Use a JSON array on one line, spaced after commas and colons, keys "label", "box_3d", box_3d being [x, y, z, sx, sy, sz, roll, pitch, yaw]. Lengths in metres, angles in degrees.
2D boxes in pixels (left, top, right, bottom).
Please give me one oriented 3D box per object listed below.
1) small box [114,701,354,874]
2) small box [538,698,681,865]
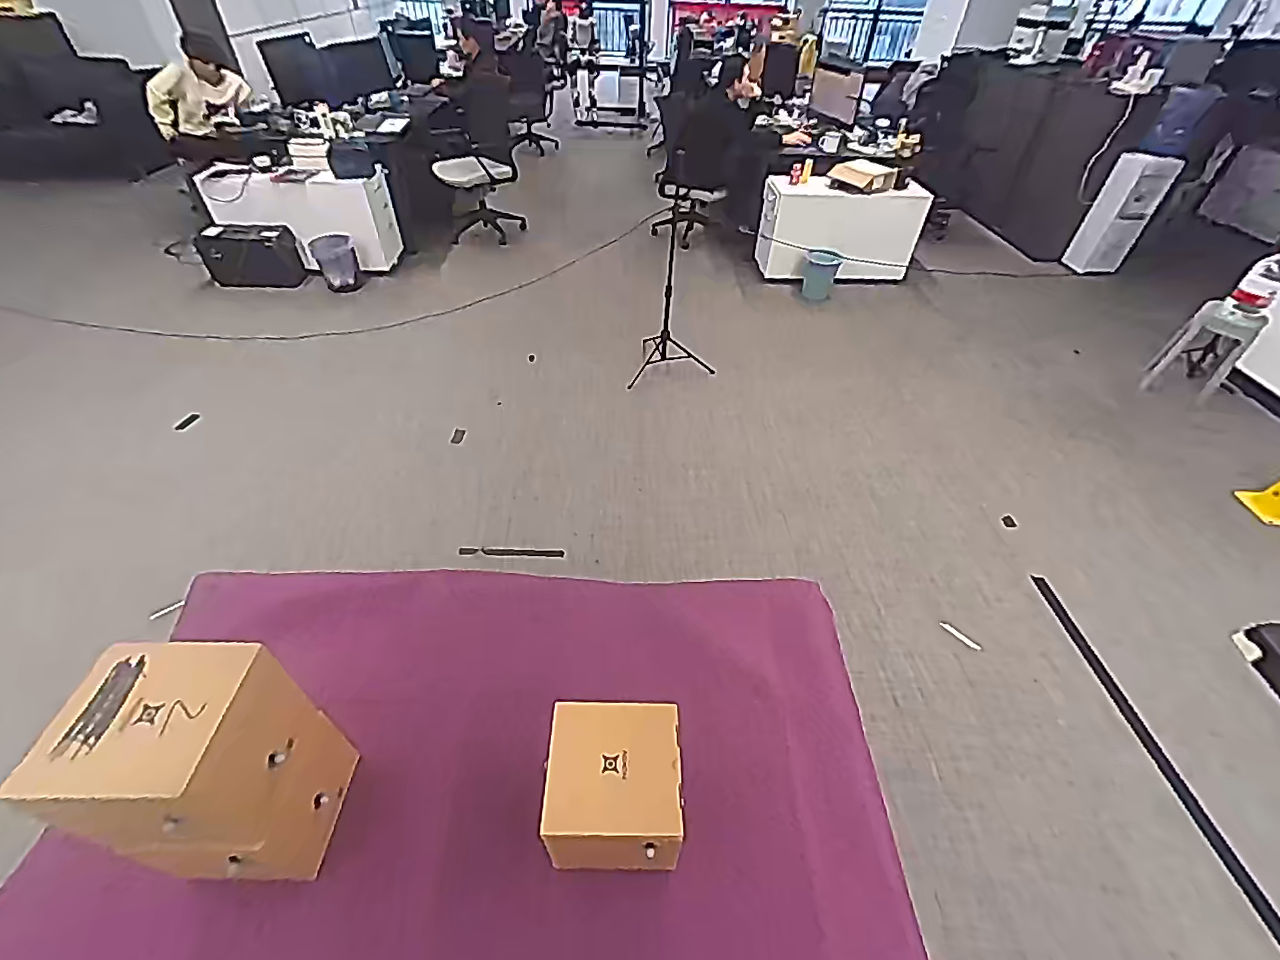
[{"label": "small box", "box_3d": [-0.526, 0.421, 0.739, 0.179, 0.176, 0.168, 2, 44, -1]}, {"label": "small box", "box_3d": [-0.038, 0.425, 0.761, 0.179, 0.176, 0.168, 2, 44, -1]}]
